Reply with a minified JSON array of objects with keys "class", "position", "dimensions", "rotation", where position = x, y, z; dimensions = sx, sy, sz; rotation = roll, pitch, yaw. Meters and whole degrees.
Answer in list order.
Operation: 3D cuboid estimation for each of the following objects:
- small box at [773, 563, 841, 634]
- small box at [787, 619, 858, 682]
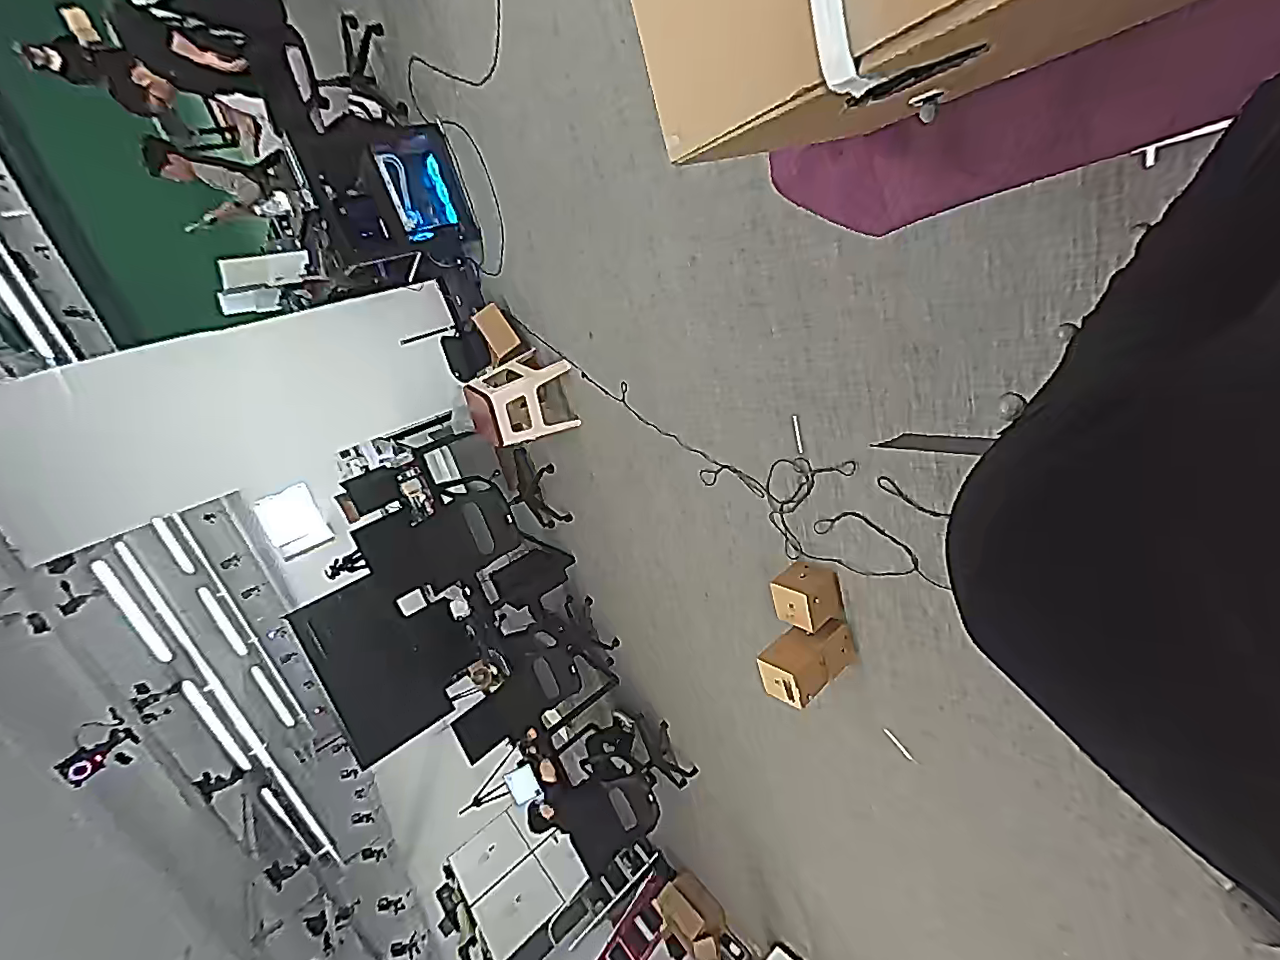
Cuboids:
[{"class":"small box","position":[0.629,0.435,2.029],"dimensions":[0.168,0.176,0.179],"rotation":[14,127,53]},{"class":"small box","position":[0.708,0.644,2.096],"dimensions":[0.179,0.176,0.168],"rotation":[1,116,56]}]
